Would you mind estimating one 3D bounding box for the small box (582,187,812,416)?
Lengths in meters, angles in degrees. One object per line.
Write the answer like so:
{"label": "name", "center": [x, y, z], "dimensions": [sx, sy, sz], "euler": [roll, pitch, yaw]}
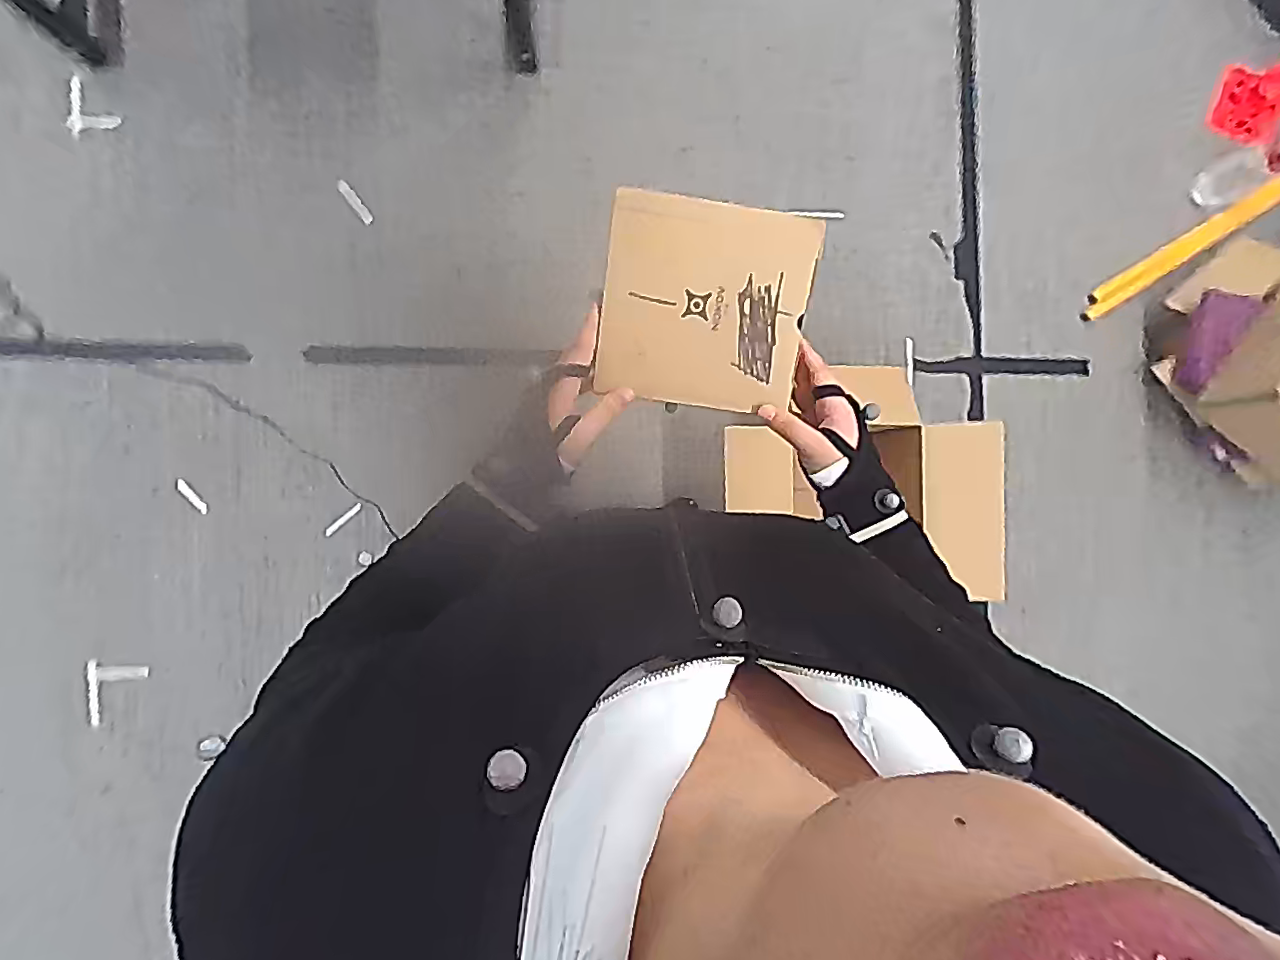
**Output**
{"label": "small box", "center": [0.041, -0.165, 0.530], "dimensions": [0.179, 0.176, 0.168], "euler": [6, 104, -4]}
